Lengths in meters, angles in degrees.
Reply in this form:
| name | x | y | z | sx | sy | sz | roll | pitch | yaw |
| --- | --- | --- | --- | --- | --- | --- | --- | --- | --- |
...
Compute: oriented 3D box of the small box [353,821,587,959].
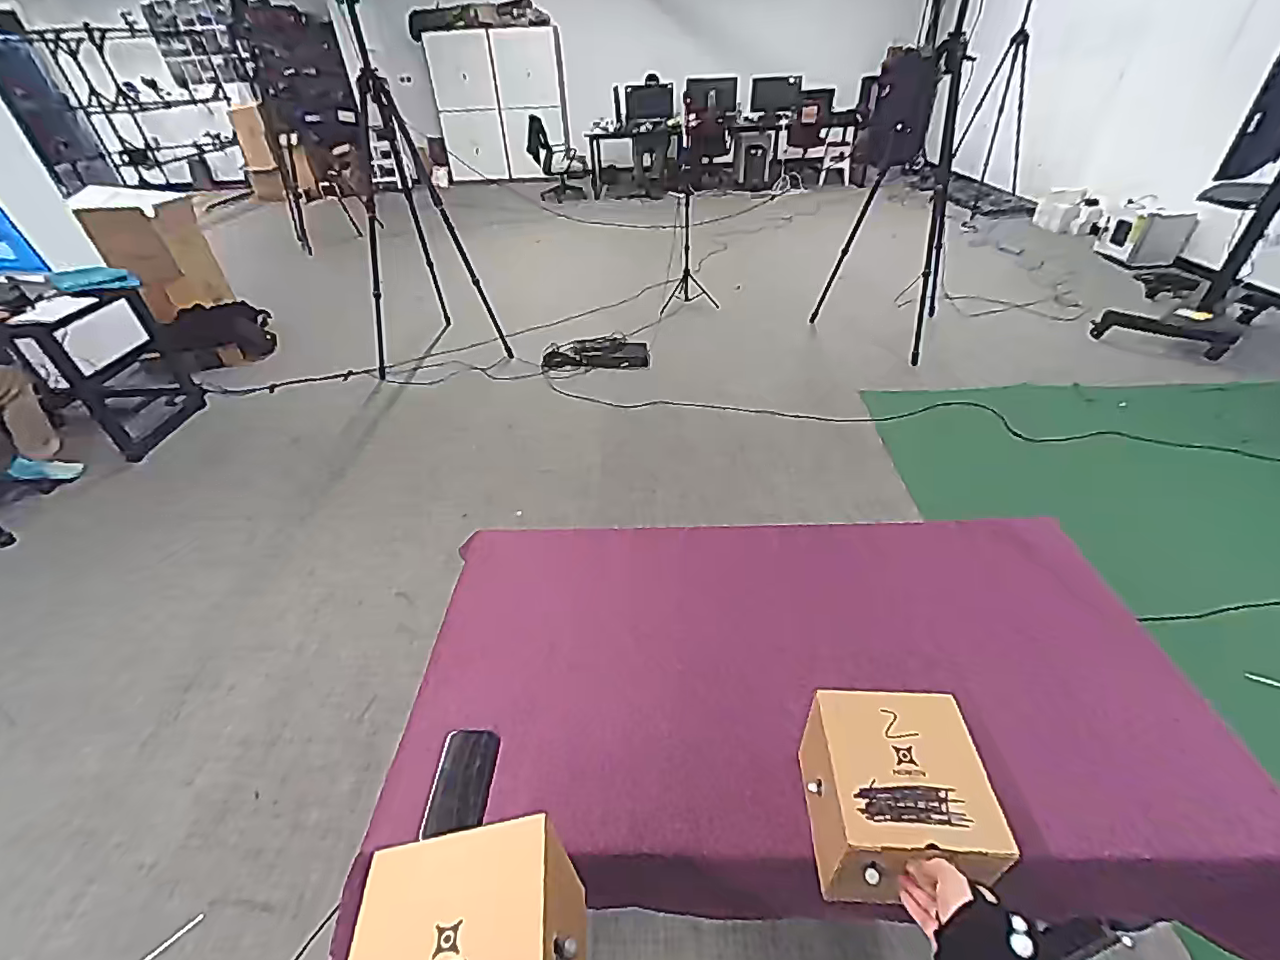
| name | x | y | z | sx | sy | sz | roll | pitch | yaw |
| --- | --- | --- | --- | --- | --- | --- | --- | --- | --- |
| small box | -0.144 | 0.453 | 0.487 | 0.168 | 0.176 | 0.179 | -12 | 34 | -1 |
